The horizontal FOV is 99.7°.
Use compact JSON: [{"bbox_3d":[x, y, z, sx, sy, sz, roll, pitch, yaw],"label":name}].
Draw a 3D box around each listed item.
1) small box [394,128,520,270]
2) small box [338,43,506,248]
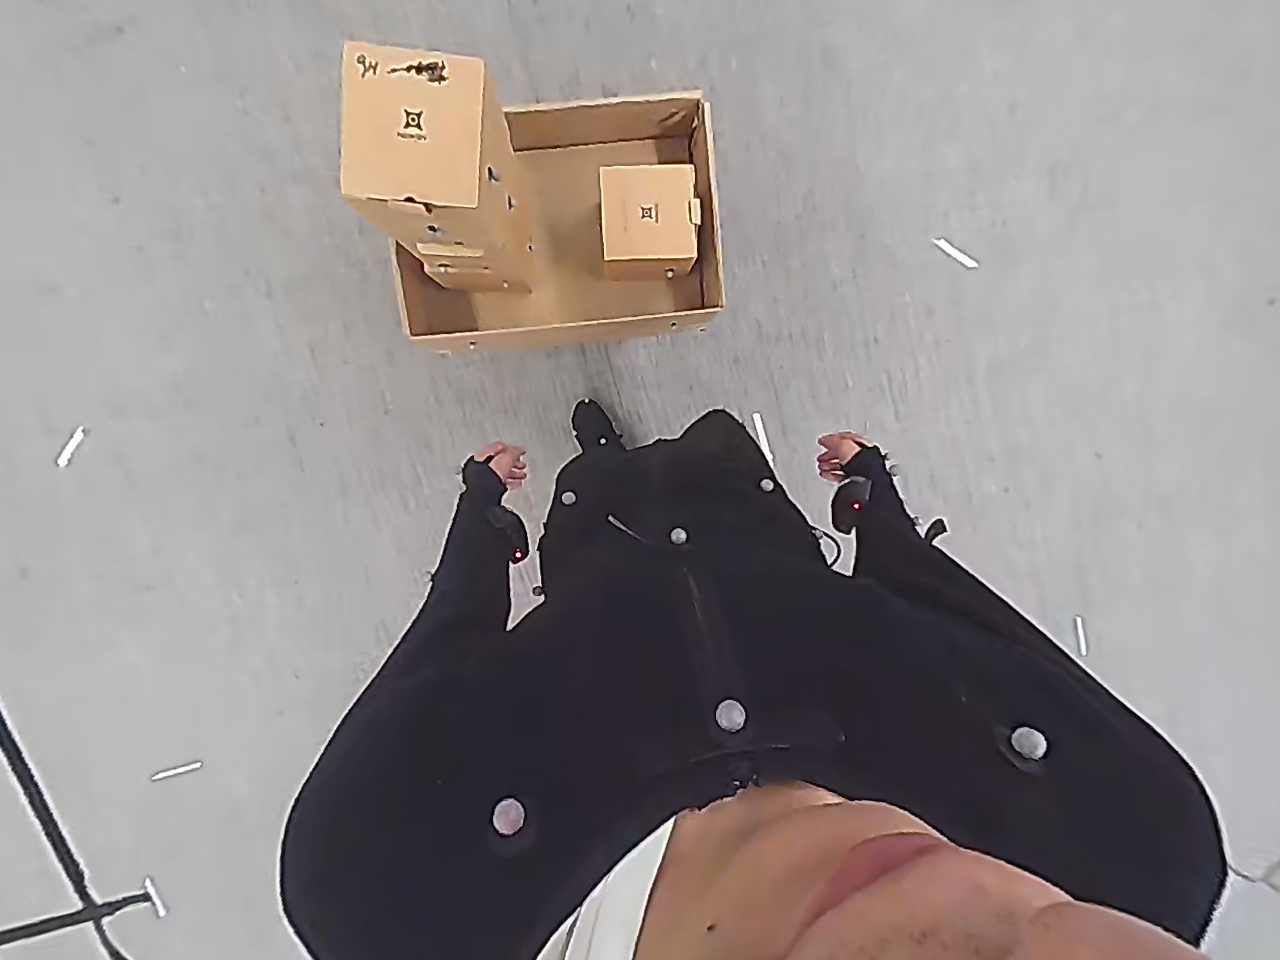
[{"bbox_3d":[-0.292,-0.454,0.887,0.168,0.176,0.179,1,96,-4],"label":"small box"},{"bbox_3d":[-0.279,-0.429,0.725,0.168,0.176,0.179,5,97,-5],"label":"small box"}]
